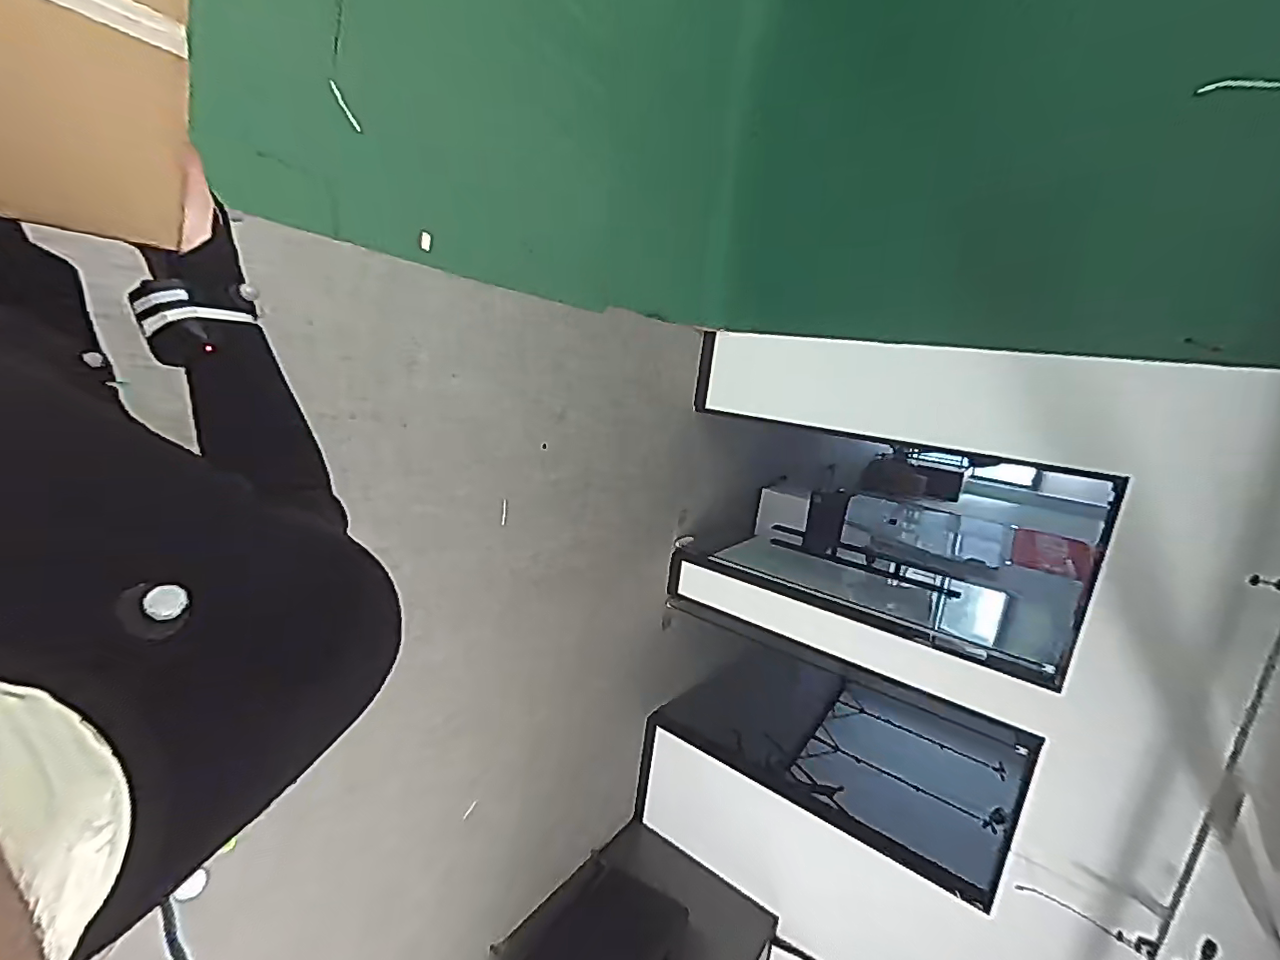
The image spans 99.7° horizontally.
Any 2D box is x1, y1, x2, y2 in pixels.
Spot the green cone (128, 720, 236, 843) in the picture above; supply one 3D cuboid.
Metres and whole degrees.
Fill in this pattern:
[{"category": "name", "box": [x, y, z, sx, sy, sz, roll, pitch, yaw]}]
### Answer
[{"category": "green cone", "box": [-1.130, 0.814, 1.390, 0.200, 0.368, 0.202, 2, 100, -56]}]
